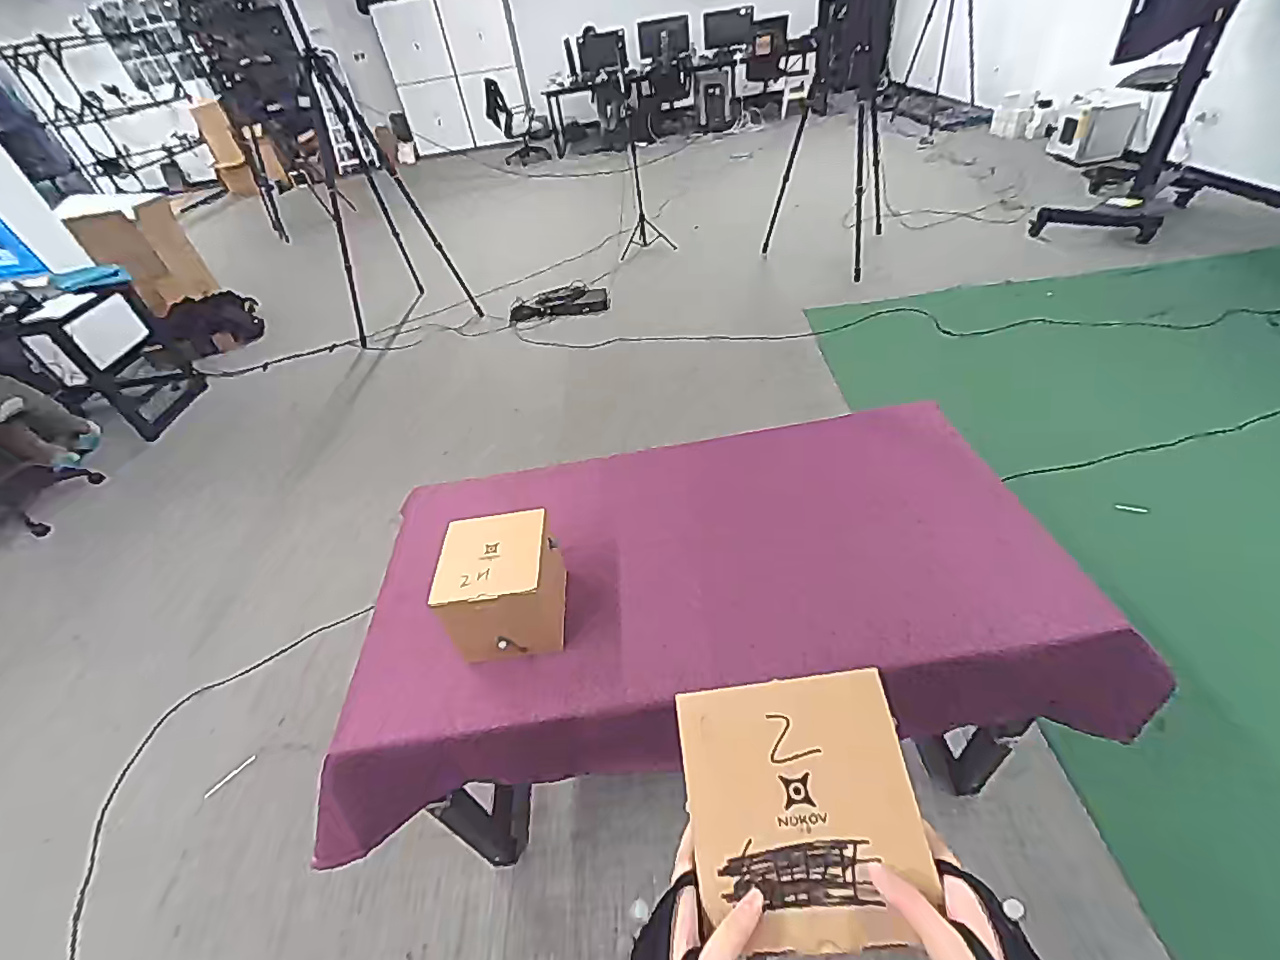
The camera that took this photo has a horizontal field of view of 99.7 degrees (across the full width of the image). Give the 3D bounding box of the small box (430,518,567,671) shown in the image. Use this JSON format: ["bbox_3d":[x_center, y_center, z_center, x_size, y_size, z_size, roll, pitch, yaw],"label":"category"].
[{"bbox_3d":[-0.221,0.190,0.900,0.168,0.176,0.179,-9,40,2],"label":"small box"}]
